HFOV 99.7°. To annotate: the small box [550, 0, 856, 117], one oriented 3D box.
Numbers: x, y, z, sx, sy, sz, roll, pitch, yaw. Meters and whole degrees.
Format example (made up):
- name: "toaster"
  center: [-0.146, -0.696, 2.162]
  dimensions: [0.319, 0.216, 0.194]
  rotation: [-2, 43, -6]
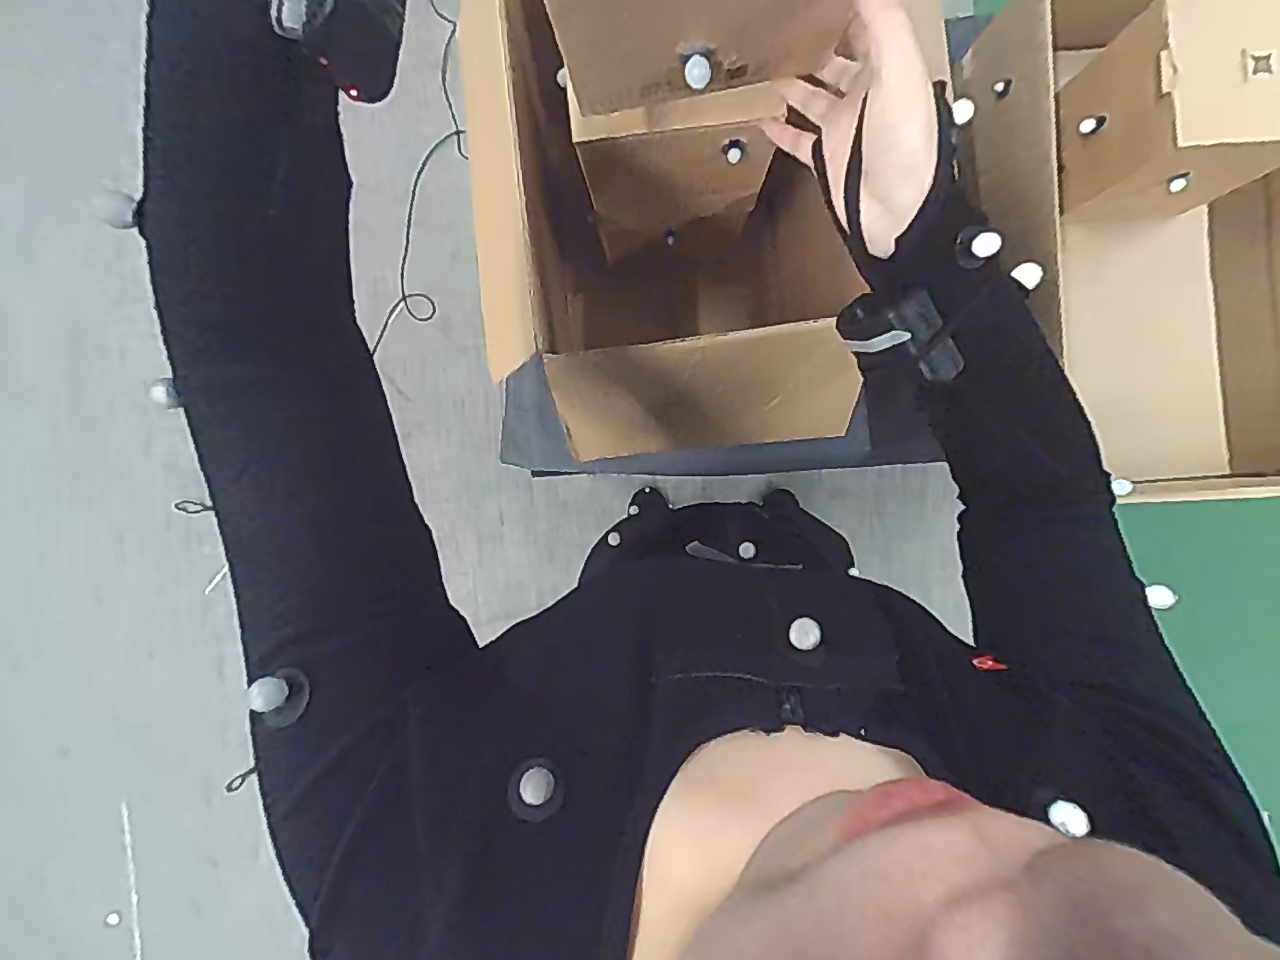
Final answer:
- name: "small box"
  center: [0.025, -0.327, 0.273]
  dimensions: [0.168, 0.176, 0.179]
  rotation: [-8, 102, 5]
